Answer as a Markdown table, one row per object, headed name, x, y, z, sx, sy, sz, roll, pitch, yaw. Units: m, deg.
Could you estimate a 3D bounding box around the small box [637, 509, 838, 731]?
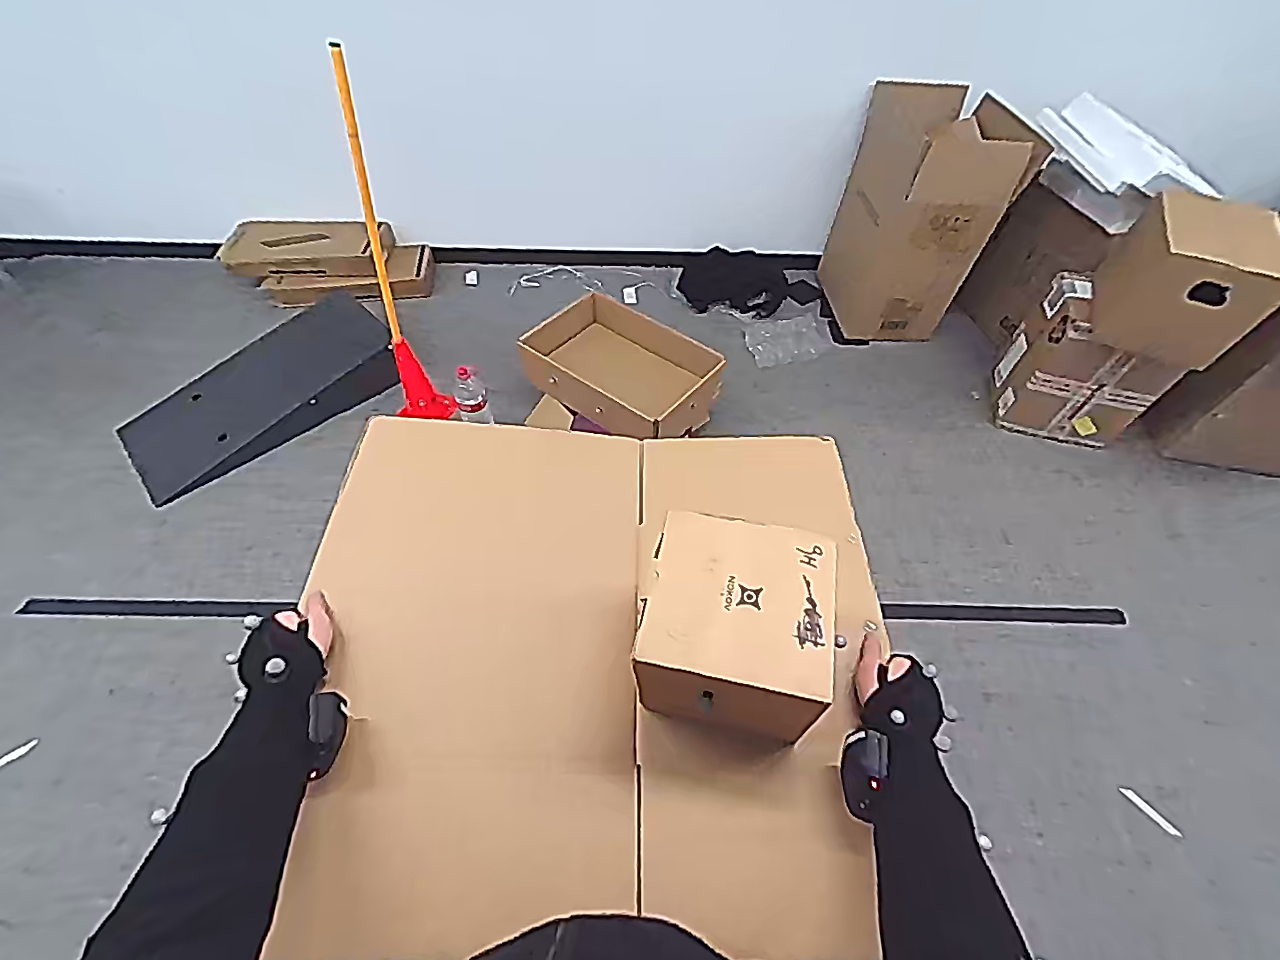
| name | x | y | z | sx | sy | sz | roll | pitch | yaw |
| --- | --- | --- | --- | --- | --- | --- | --- | --- | --- |
| small box | 0.105 | 0.155 | 0.585 | 0.179 | 0.176 | 0.168 | 9 | 55 | 11 |
